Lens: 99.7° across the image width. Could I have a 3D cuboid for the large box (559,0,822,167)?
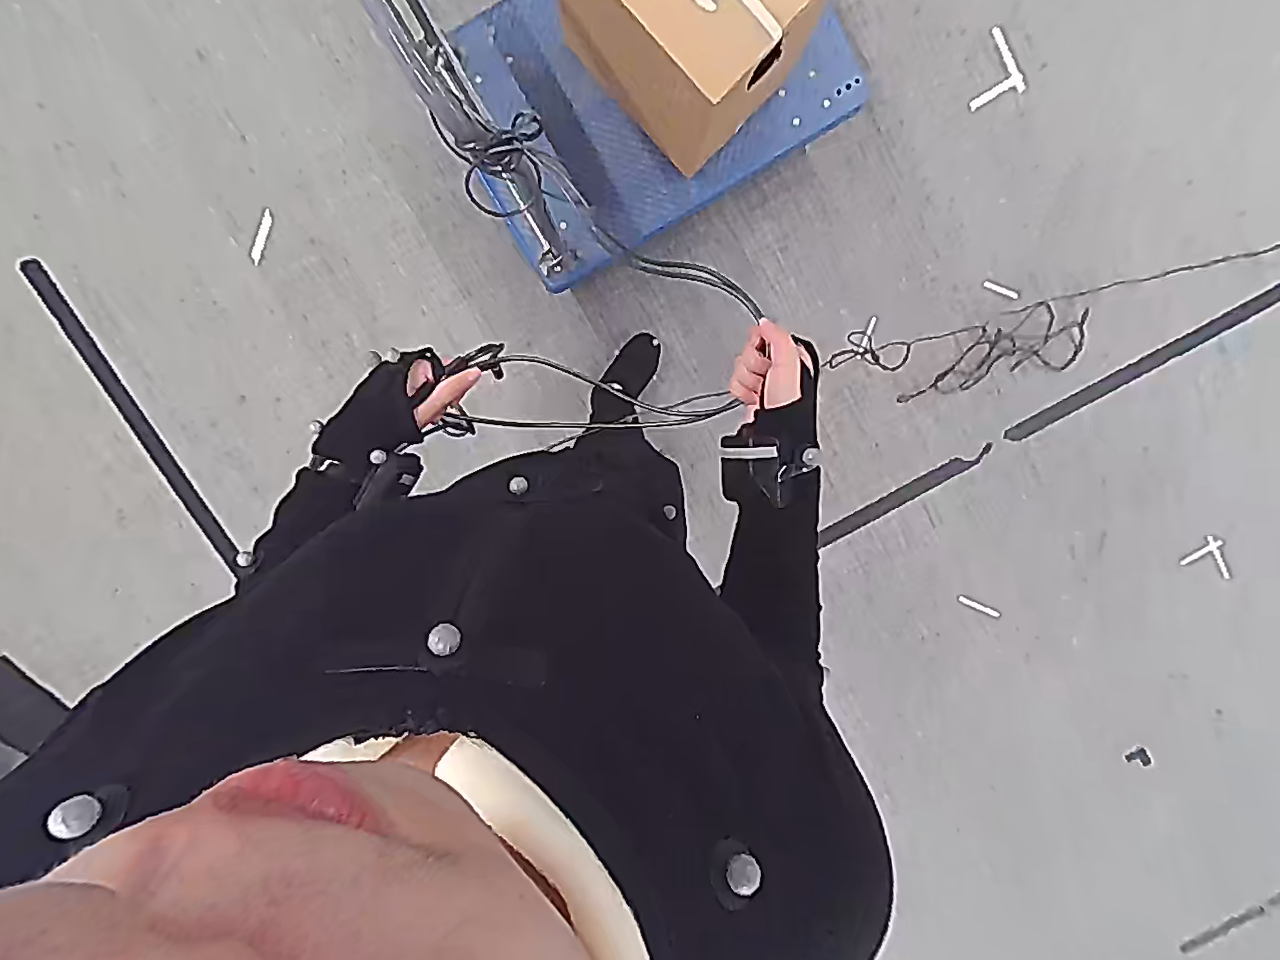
[{"bbox_3d":[0.086,-0.921,1.039,0.408,0.320,0.320,44,94,-9],"label":"large box"}]
